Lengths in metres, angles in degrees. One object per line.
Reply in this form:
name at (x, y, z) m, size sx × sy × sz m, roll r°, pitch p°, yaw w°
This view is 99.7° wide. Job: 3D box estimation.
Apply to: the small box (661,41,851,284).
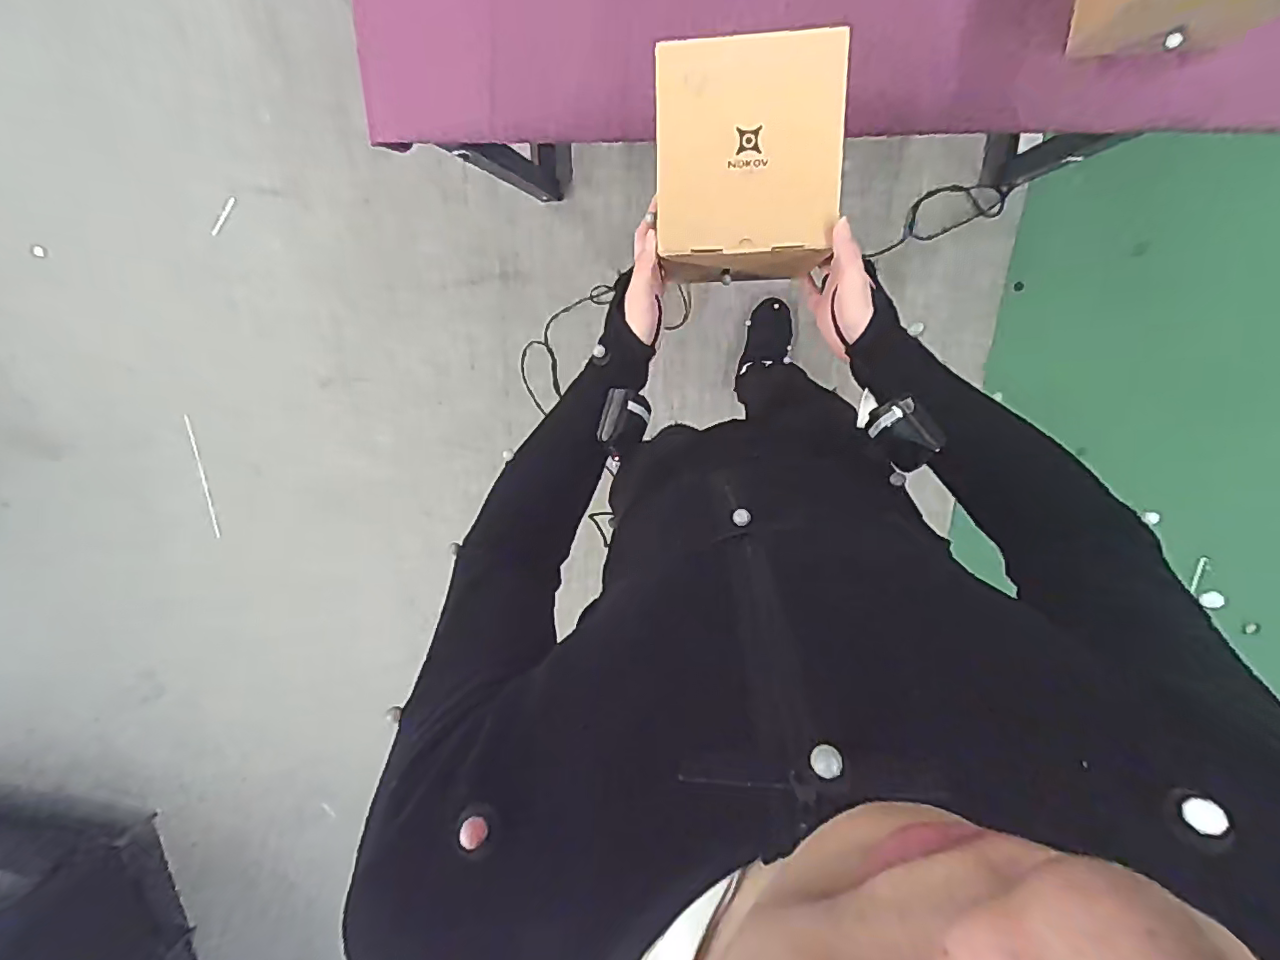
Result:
small box at (0.105, -0.307, 0.561) m, size 0.168 × 0.176 × 0.179 m, roll 0°, pitch 104°, yaw 5°
